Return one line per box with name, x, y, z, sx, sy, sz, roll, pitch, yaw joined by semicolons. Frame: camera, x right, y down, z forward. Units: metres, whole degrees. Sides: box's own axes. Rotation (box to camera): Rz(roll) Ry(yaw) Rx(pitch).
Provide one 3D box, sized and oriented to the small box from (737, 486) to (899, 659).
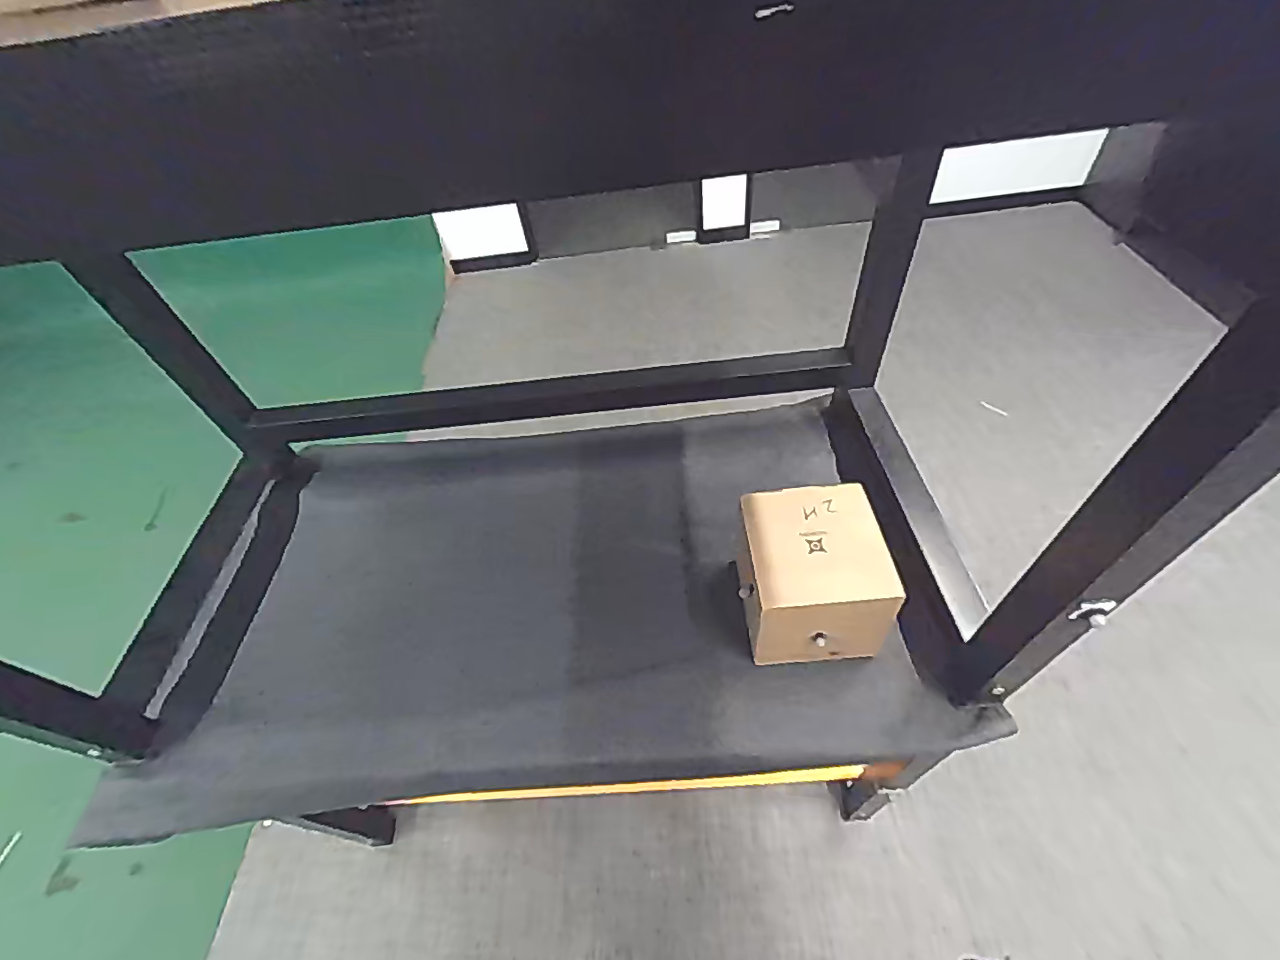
small box;0.227;0.133;0.740;0.168;0.176;0.179;-5;48;3
